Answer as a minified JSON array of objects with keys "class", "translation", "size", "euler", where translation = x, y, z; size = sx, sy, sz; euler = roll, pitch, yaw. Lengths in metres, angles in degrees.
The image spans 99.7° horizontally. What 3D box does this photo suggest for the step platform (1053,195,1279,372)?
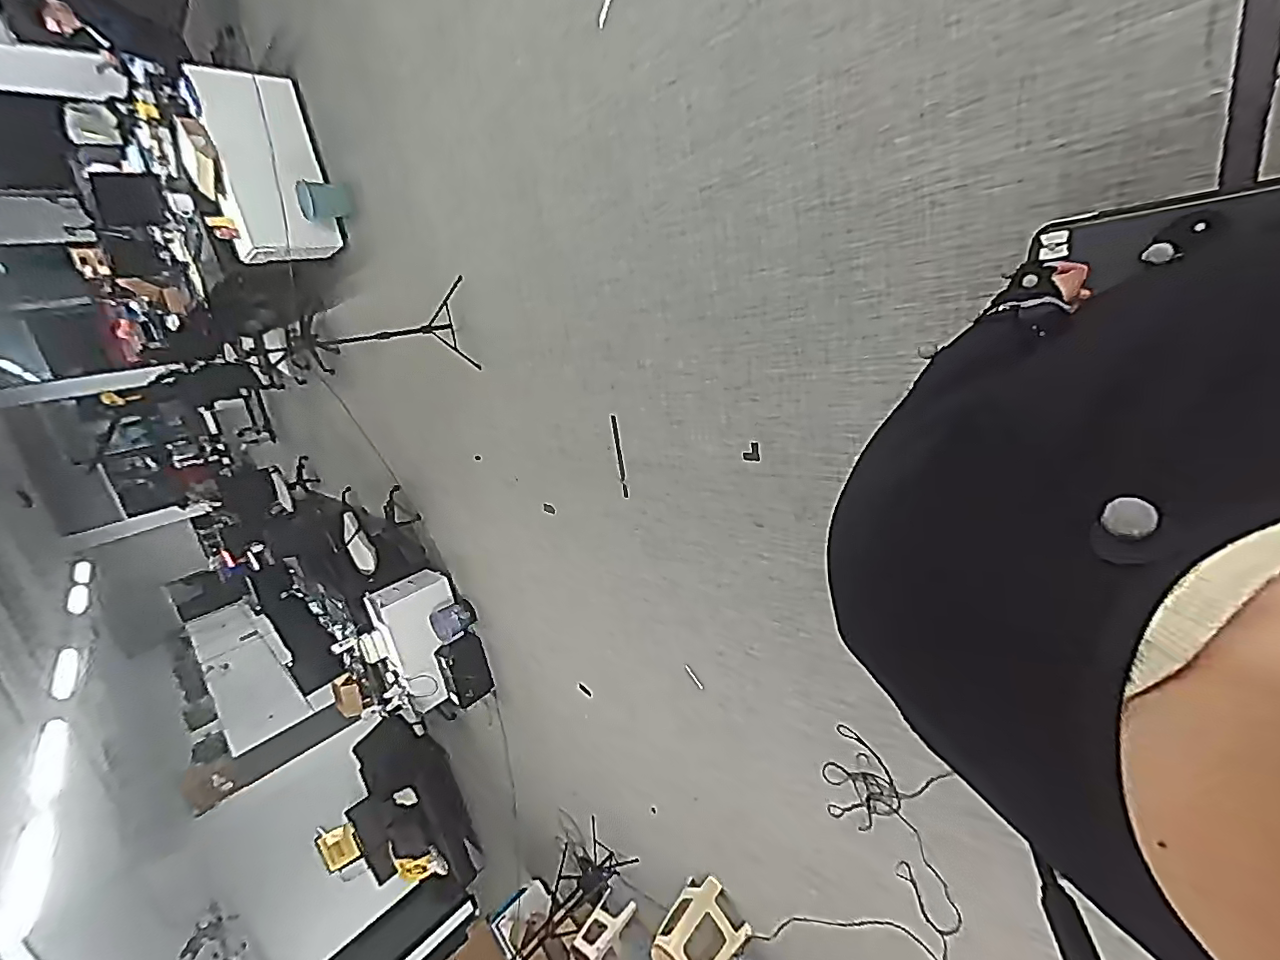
[{"class":"step platform","translation":[1.127,-0.337,0.913],"size":[0.684,0.204,0.286],"euler":[12,117,43]}]
